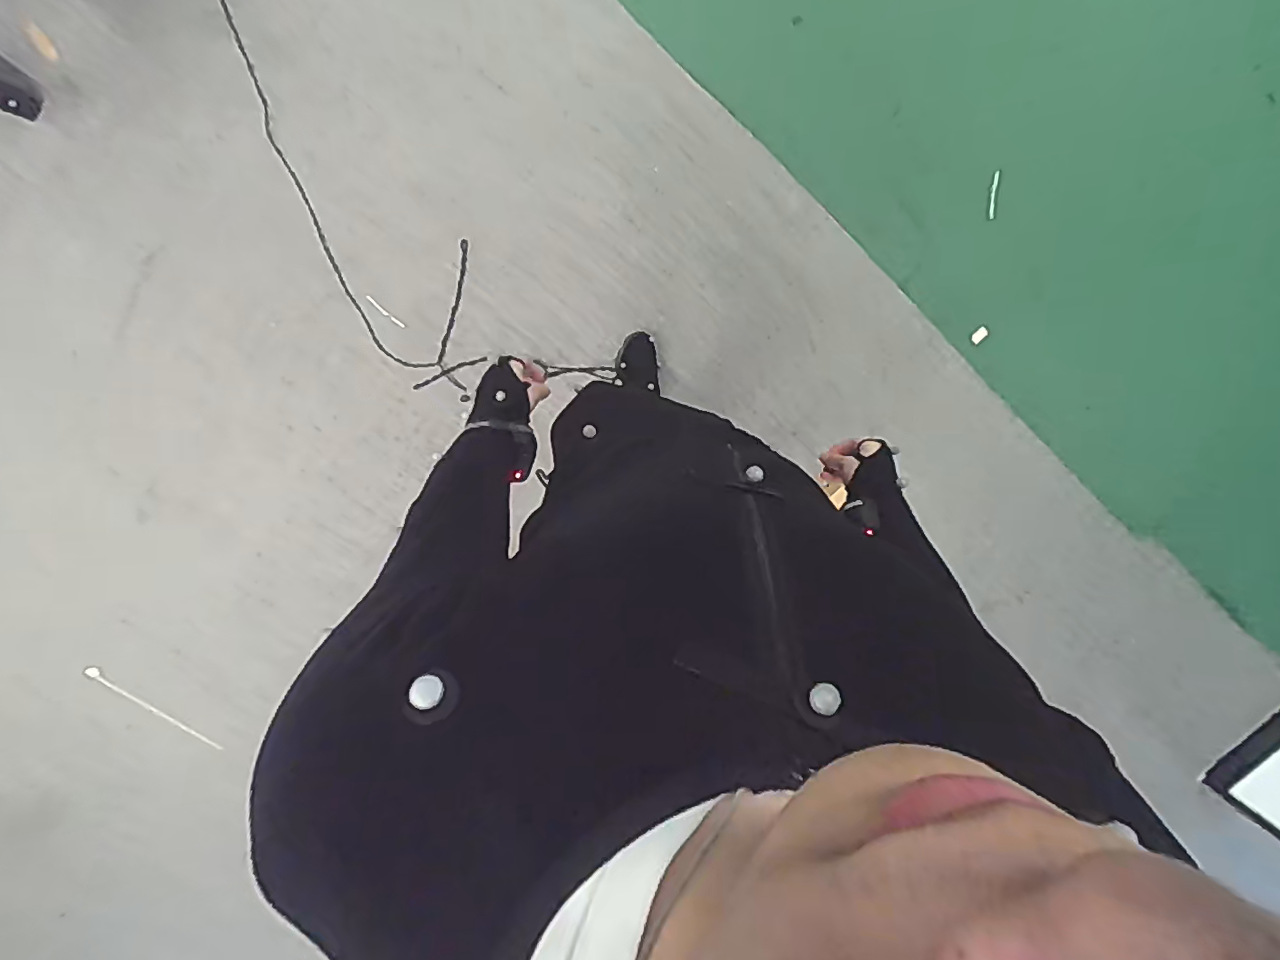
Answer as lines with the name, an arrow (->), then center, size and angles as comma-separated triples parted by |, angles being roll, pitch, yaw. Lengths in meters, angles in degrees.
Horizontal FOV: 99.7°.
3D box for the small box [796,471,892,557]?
small box -> 0.591, 0.092, 1.596 | 0.179, 0.176, 0.168 | 44, 98, -12
